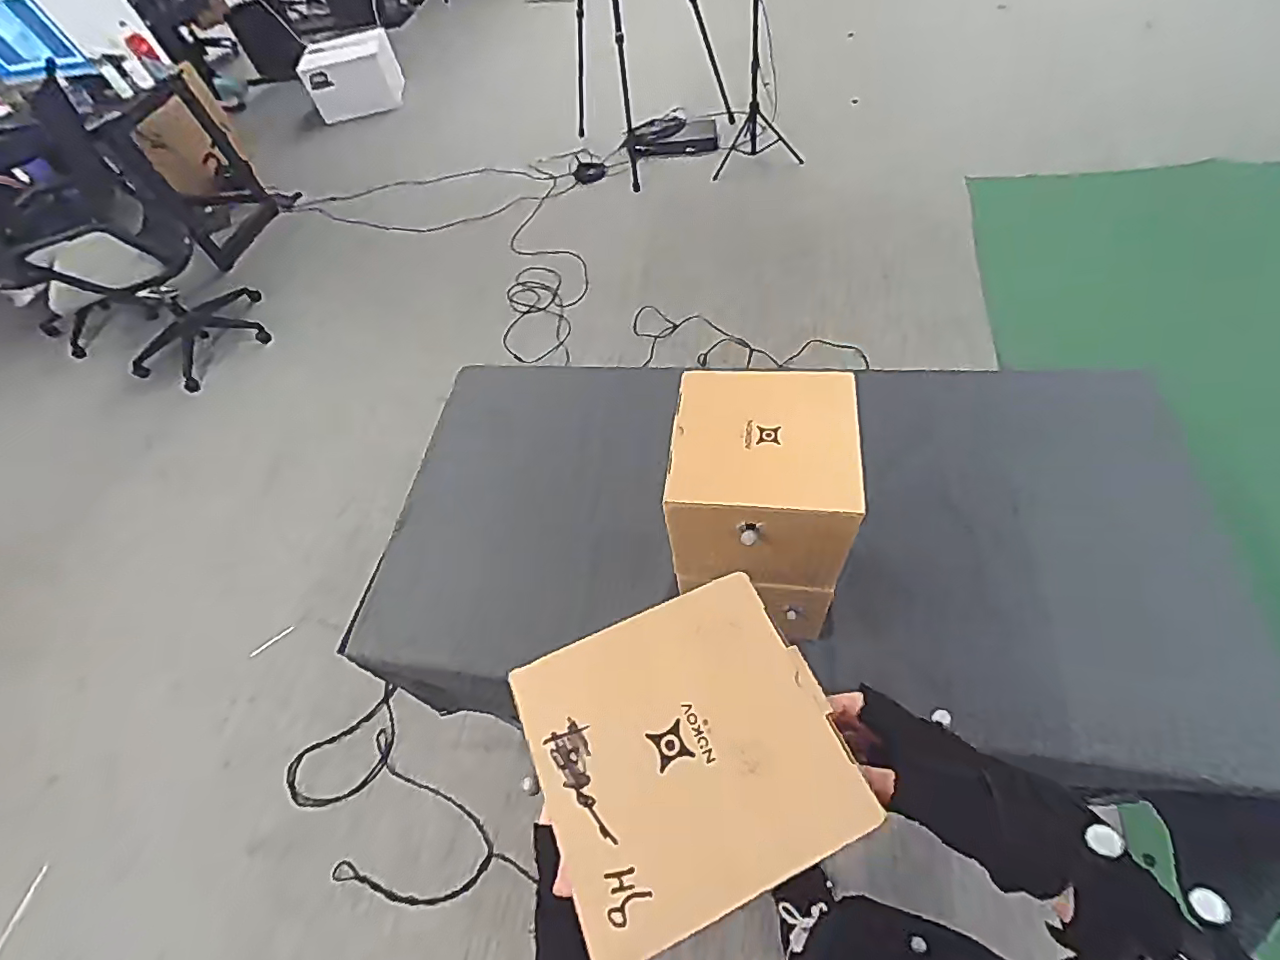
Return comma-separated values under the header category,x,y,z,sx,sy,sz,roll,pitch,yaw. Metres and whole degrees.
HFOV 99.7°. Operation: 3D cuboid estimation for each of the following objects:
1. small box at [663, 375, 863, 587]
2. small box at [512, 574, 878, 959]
category,x,y,z,sx,sy,sz,roll,pitch,yaw
small box,0.129,0.006,0.585,0.179,0.176,0.168,2,57,12
small box,0.026,0.198,0.393,0.179,0.176,0.168,-20,58,-11
